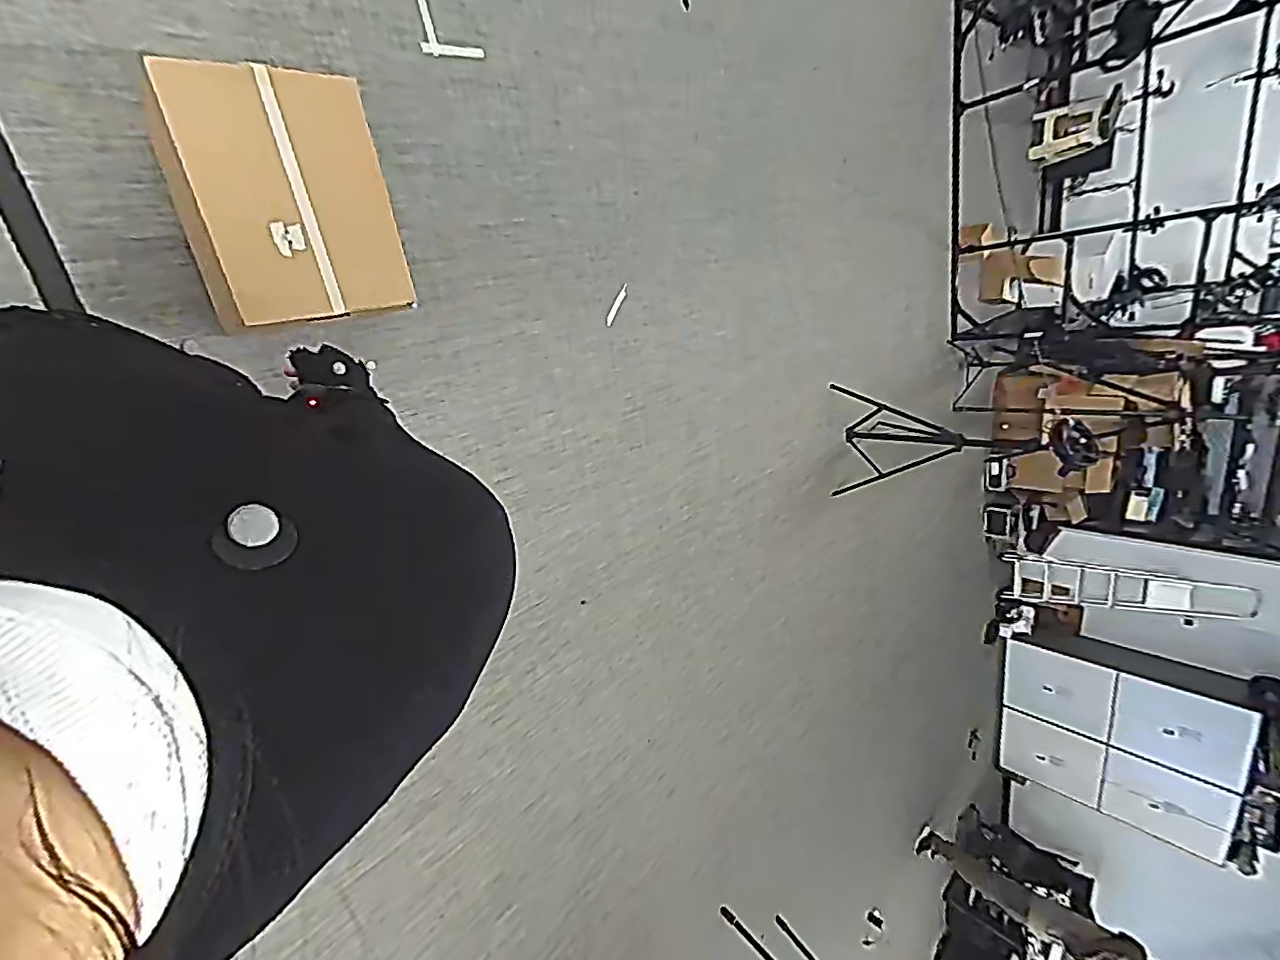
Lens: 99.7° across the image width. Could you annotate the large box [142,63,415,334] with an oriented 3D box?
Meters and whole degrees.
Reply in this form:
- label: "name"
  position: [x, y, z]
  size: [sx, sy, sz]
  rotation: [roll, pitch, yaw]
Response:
- label: "large box"
  position: [-0.714, -0.527, 1.083]
  size: [0.320, 0.320, 0.408]
  rotation: [-25, 114, -36]
